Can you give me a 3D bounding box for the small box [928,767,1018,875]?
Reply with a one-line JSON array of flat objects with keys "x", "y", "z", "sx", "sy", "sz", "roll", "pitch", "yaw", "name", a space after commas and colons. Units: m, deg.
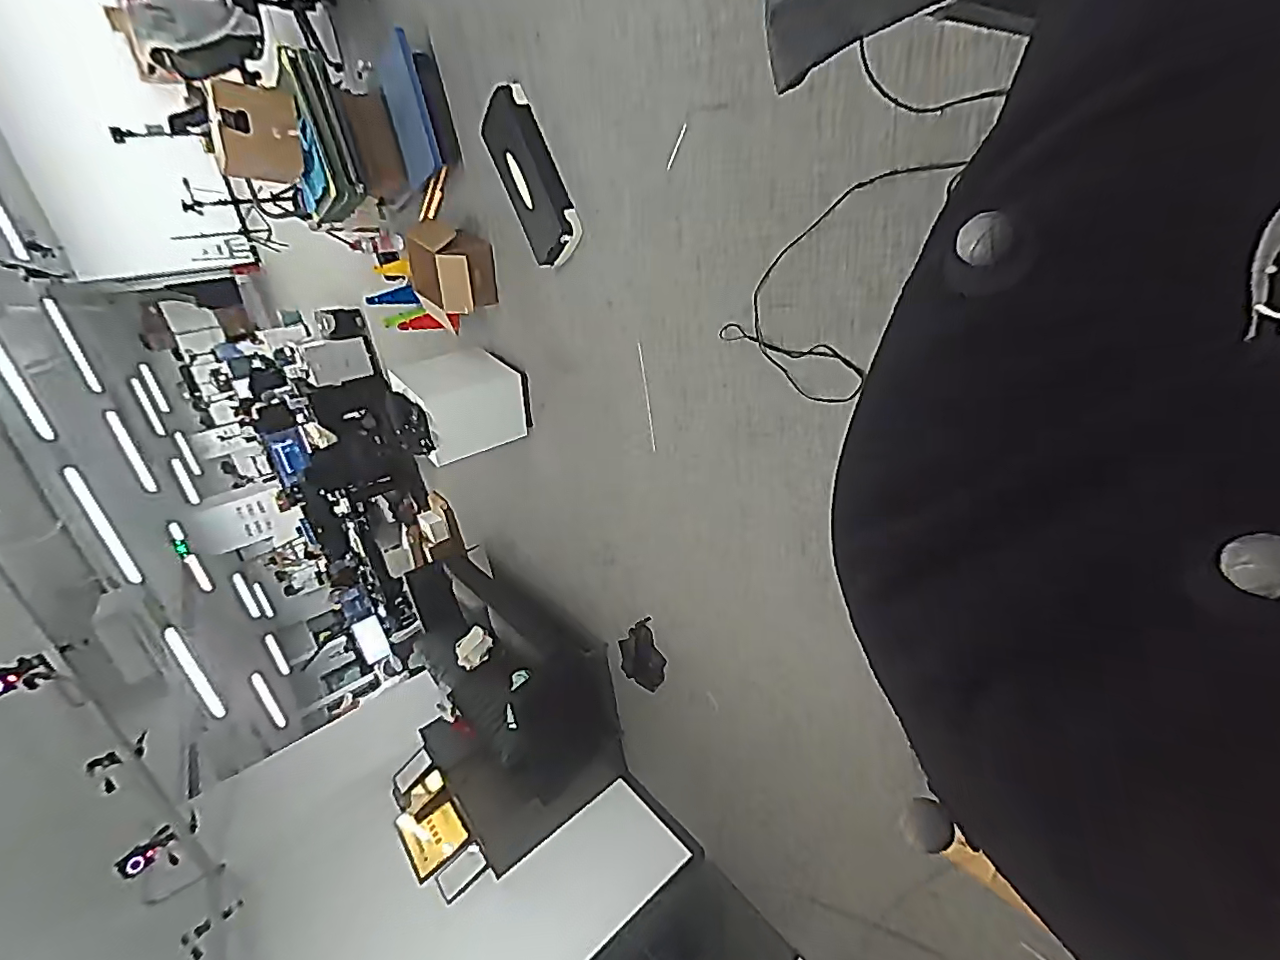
[{"x": 0.986, "y": 0.999, "z": 1.602, "sx": 0.179, "sy": 0.176, "sz": 0.168, "roll": 21, "pitch": 128, "yaw": 49, "name": "small box"}]
